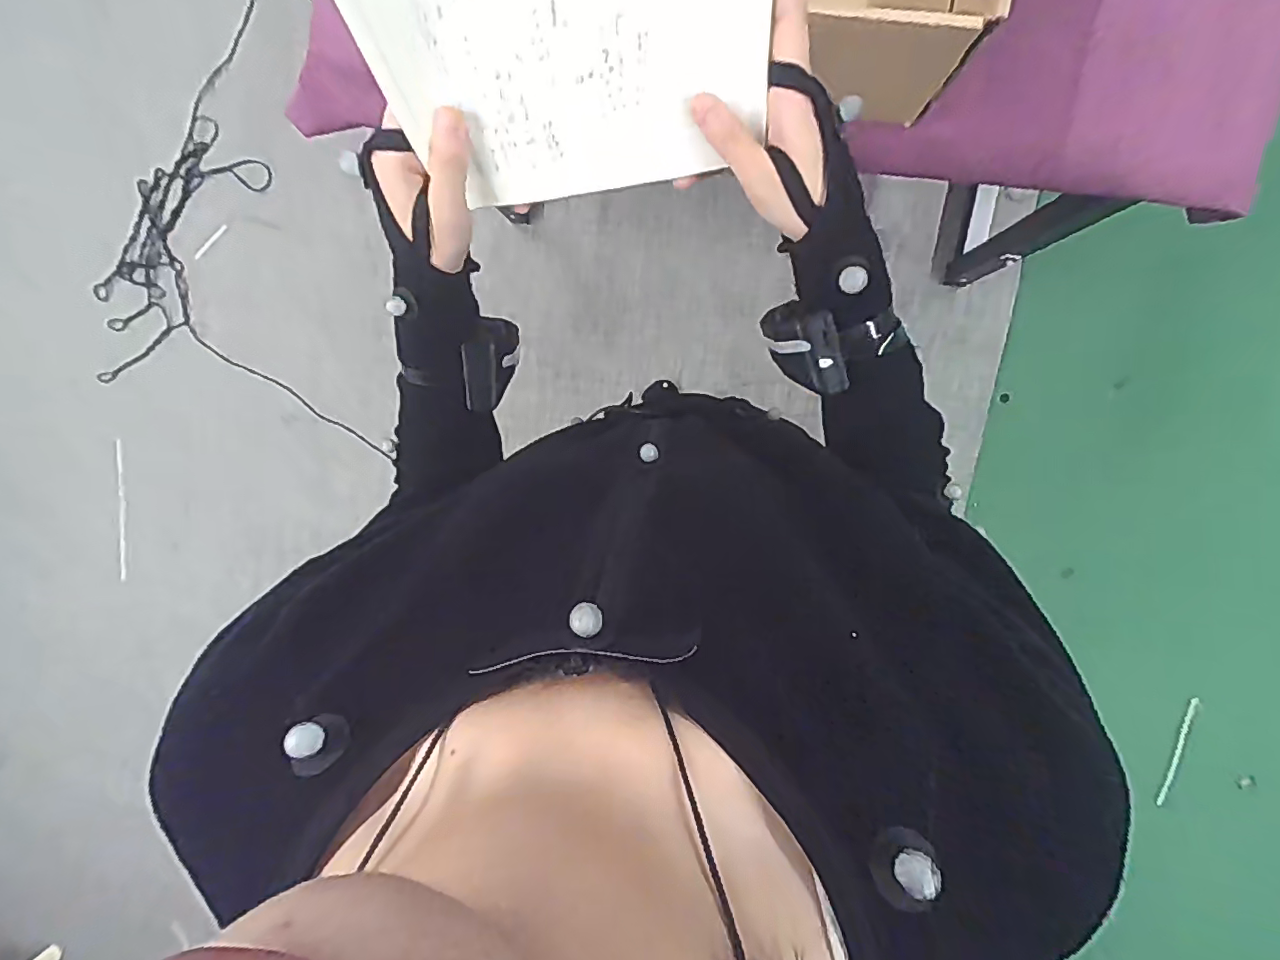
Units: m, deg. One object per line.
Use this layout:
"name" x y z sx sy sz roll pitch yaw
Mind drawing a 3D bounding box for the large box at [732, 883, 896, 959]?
"large box" 0.478 1.377 1.486 0.408 0.320 0.320 -5 98 6
